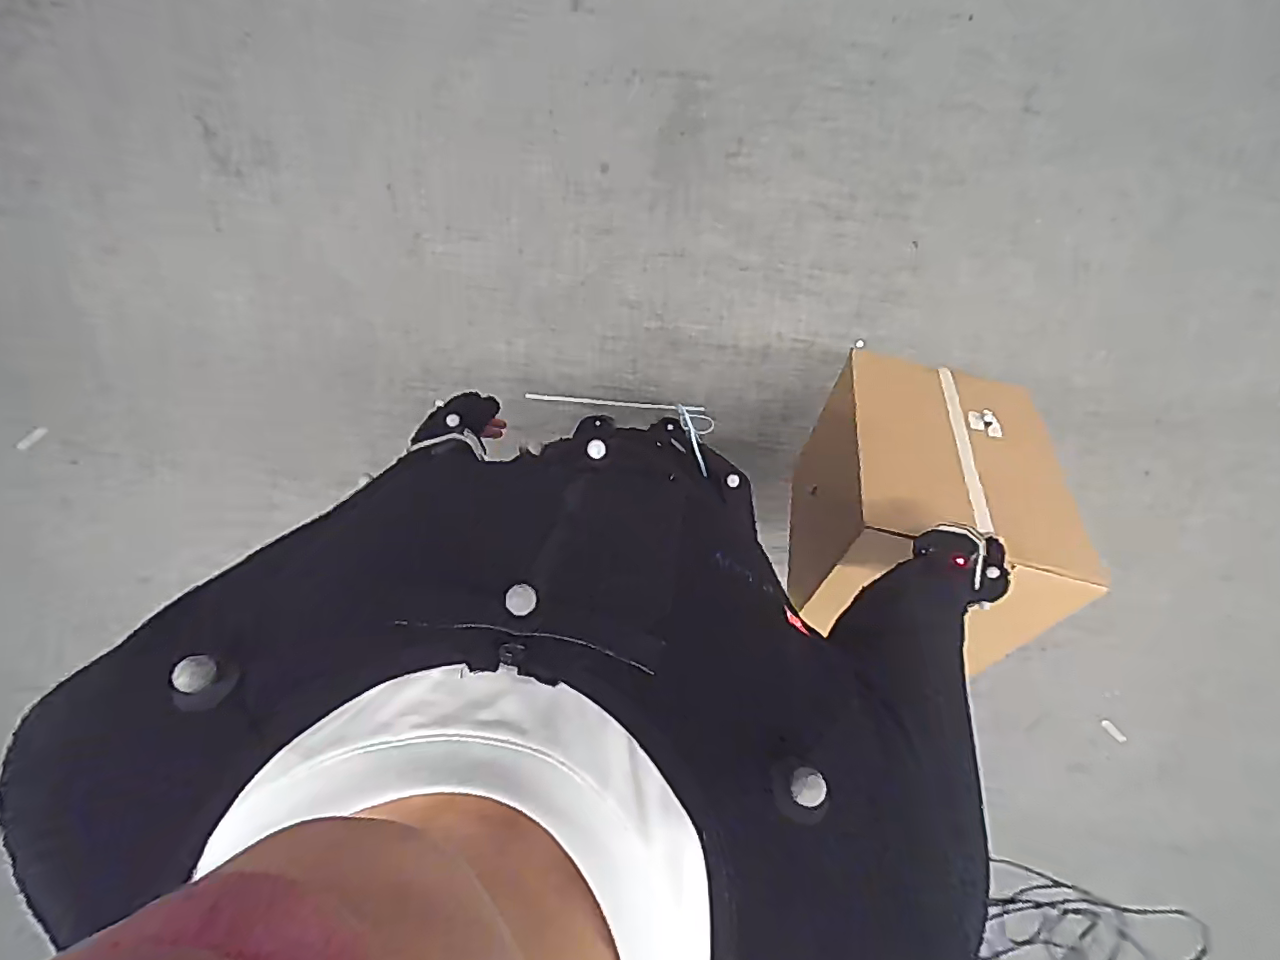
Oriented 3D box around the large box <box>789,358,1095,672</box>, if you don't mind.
[{"bbox_3d":[0.457,0.056,0.935,0.320,0.408,0.320,15,138,2],"label":"large box"}]
